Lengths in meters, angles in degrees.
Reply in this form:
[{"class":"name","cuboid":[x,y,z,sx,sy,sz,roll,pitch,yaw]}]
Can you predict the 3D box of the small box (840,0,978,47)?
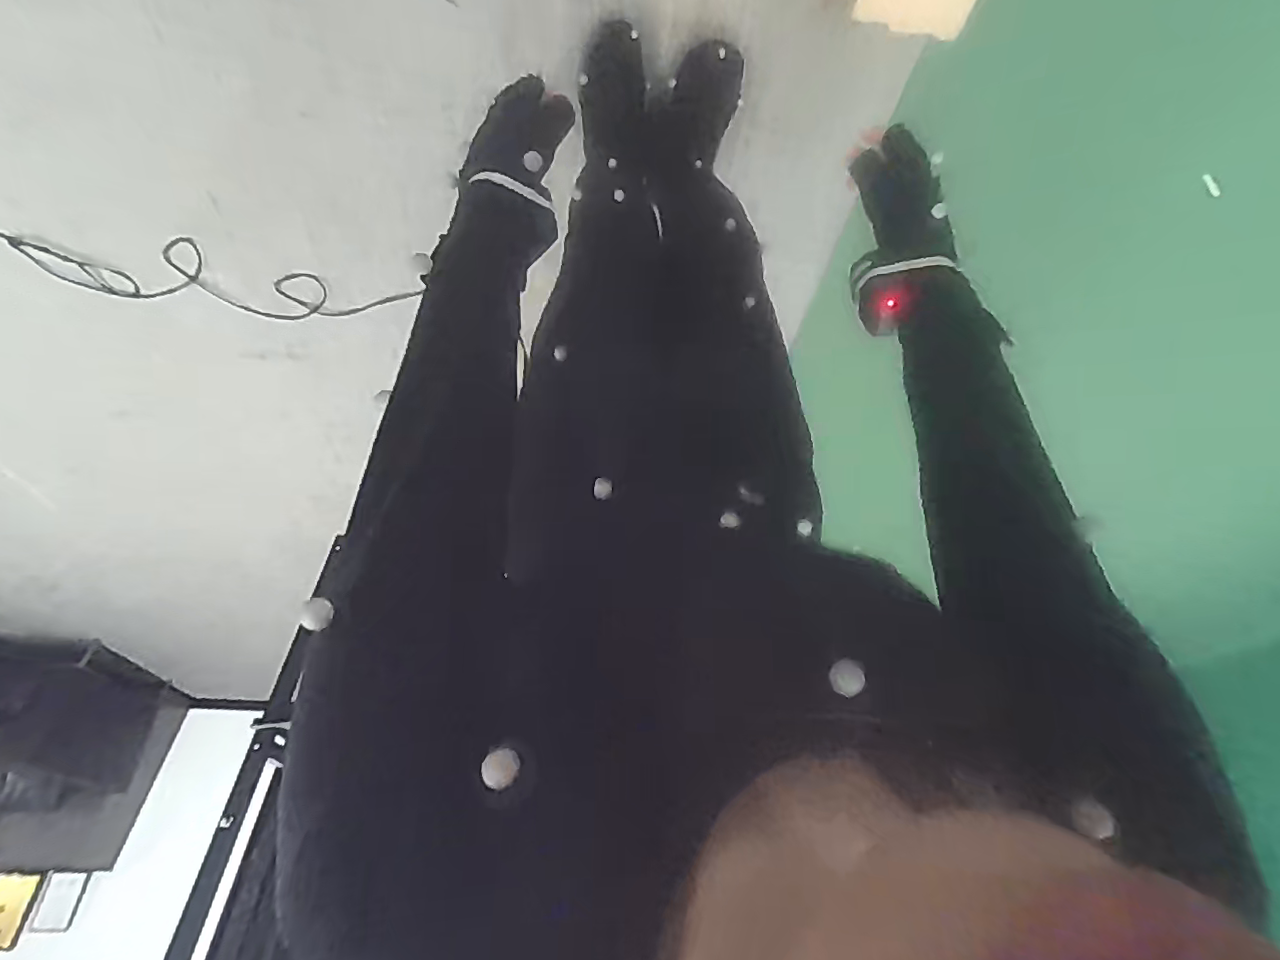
[{"class":"small box","cuboid":[0.395,-0.759,0.764,0.168,0.176,0.179,7,142,-7]}]
